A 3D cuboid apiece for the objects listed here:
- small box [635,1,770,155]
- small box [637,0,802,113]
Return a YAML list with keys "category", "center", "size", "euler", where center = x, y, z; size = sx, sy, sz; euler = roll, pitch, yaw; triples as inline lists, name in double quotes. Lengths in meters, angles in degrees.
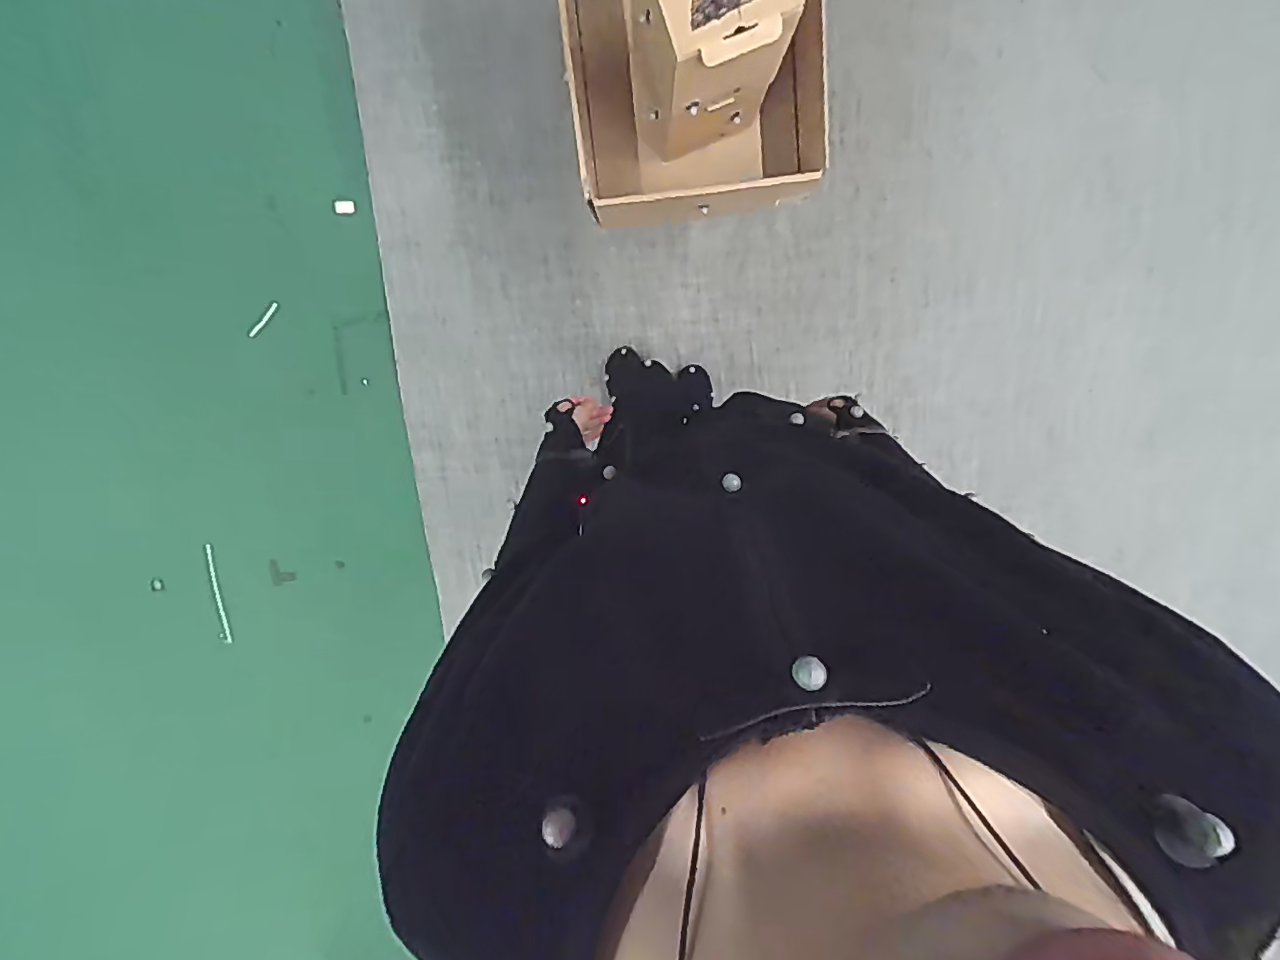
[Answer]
- category: "small box"
  center: [0.098, -0.664, 0.882]
  size: [0.168, 0.176, 0.179]
  euler: [-19, 99, 4]
- category: "small box"
  center: [0.096, -0.630, 0.722]
  size: [0.168, 0.176, 0.179]
  euler: [-19, 99, 4]
